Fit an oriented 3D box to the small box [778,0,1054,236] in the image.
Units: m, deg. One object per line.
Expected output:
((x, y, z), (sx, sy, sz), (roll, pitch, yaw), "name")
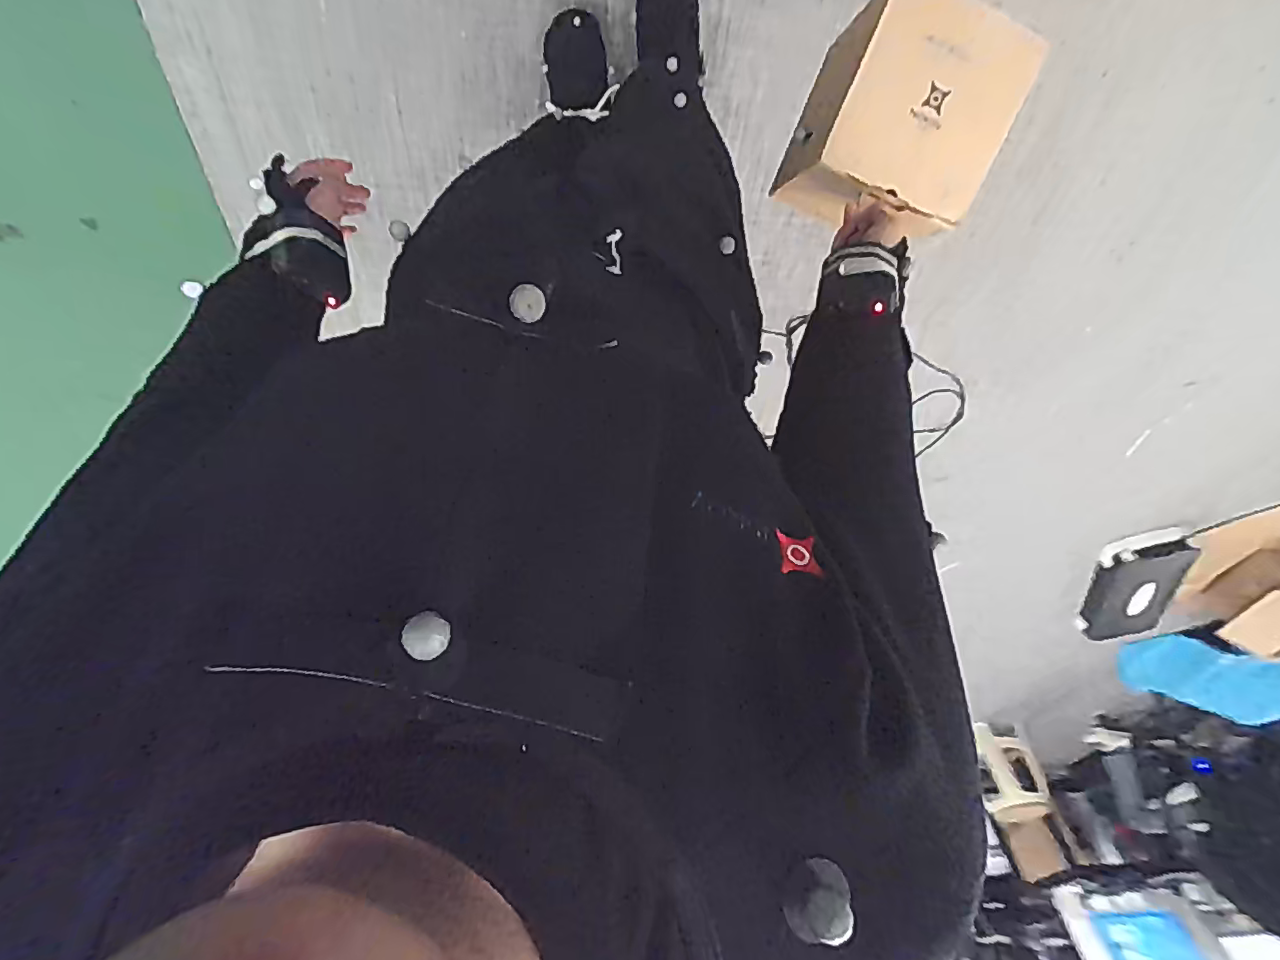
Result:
((0.267, -0.382, 0.575), (0.168, 0.176, 0.179), (19, 104, -10), "small box")
